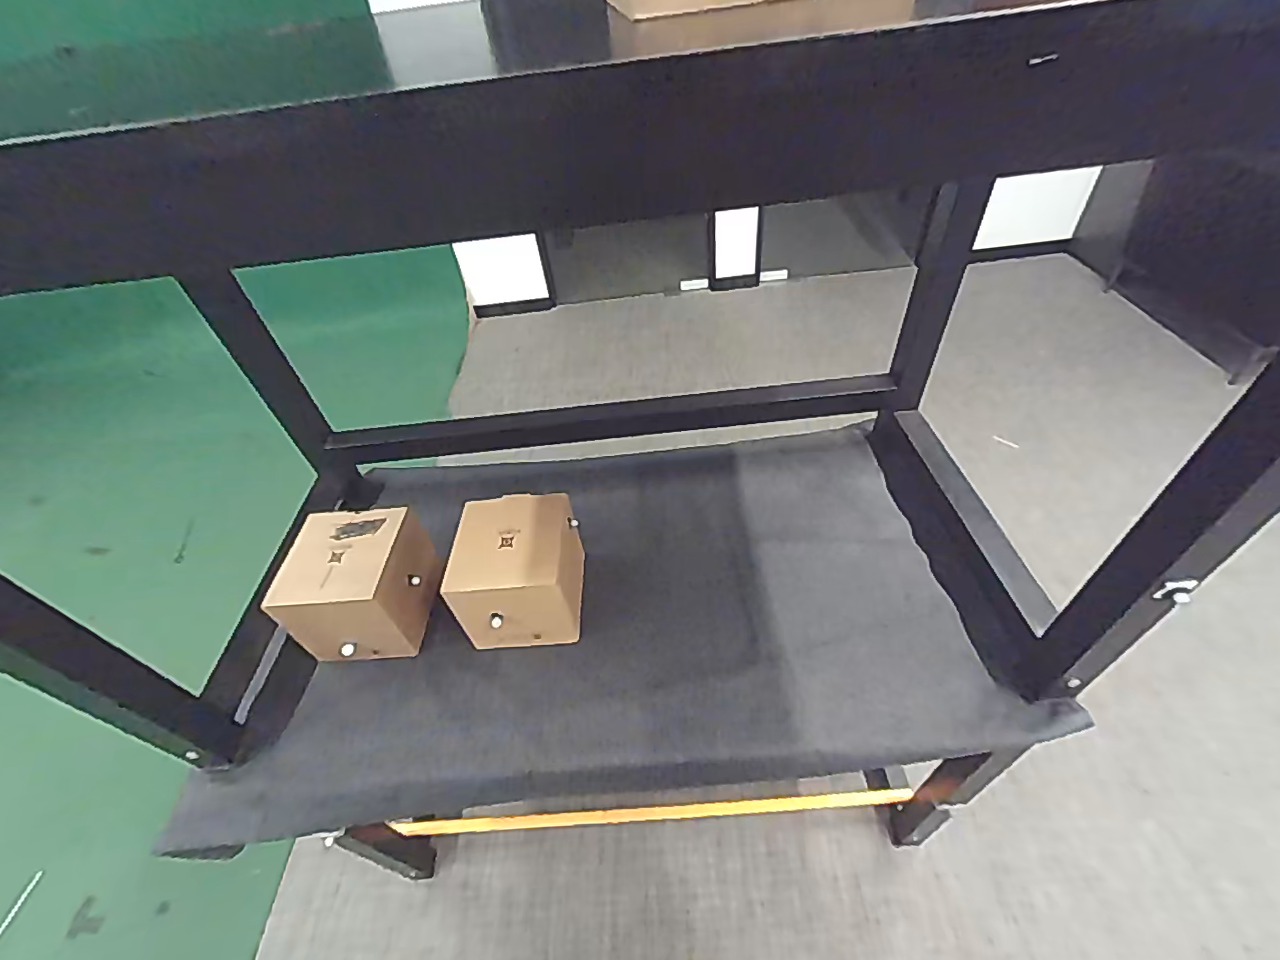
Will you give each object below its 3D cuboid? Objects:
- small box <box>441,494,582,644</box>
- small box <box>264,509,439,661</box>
[{"bbox_3d":[-0.190,0.147,0.858,0.168,0.176,0.179,-5,44,3],"label":"small box"},{"bbox_3d":[-0.442,0.169,0.867,0.168,0.176,0.179,-5,45,3],"label":"small box"}]
